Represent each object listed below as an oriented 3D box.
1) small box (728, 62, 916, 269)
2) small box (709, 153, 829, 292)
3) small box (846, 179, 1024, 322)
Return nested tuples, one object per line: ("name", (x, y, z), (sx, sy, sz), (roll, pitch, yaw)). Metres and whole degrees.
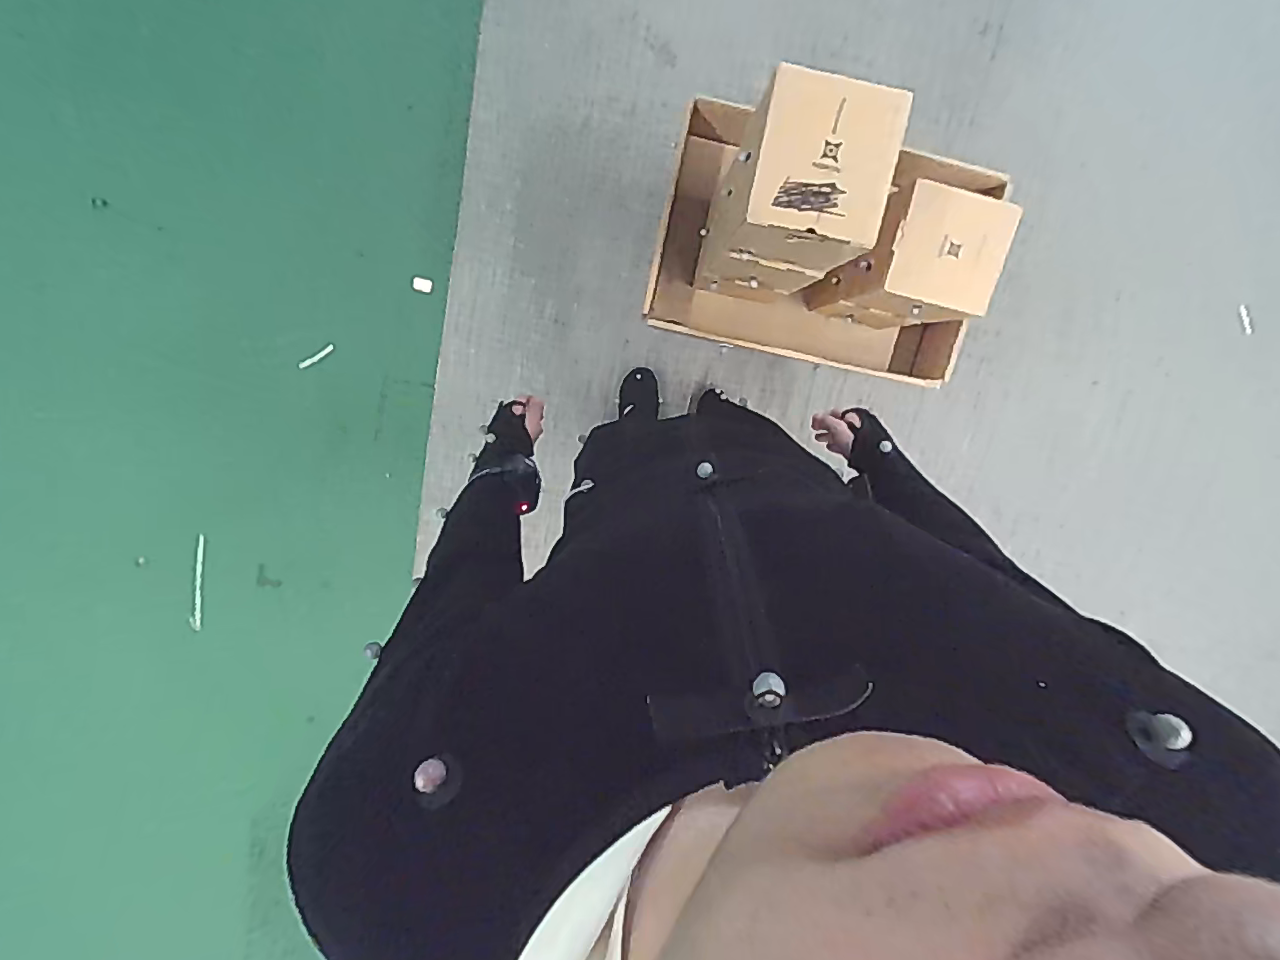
("small box", (0.222, -0.393, 0.713), (0.168, 0.176, 0.179), (10, 100, -5))
("small box", (0.218, -0.420, 0.876), (0.168, 0.176, 0.179), (12, 101, -5))
("small box", (0.473, -0.367, 0.899), (0.179, 0.176, 0.168), (13, 102, -6))
